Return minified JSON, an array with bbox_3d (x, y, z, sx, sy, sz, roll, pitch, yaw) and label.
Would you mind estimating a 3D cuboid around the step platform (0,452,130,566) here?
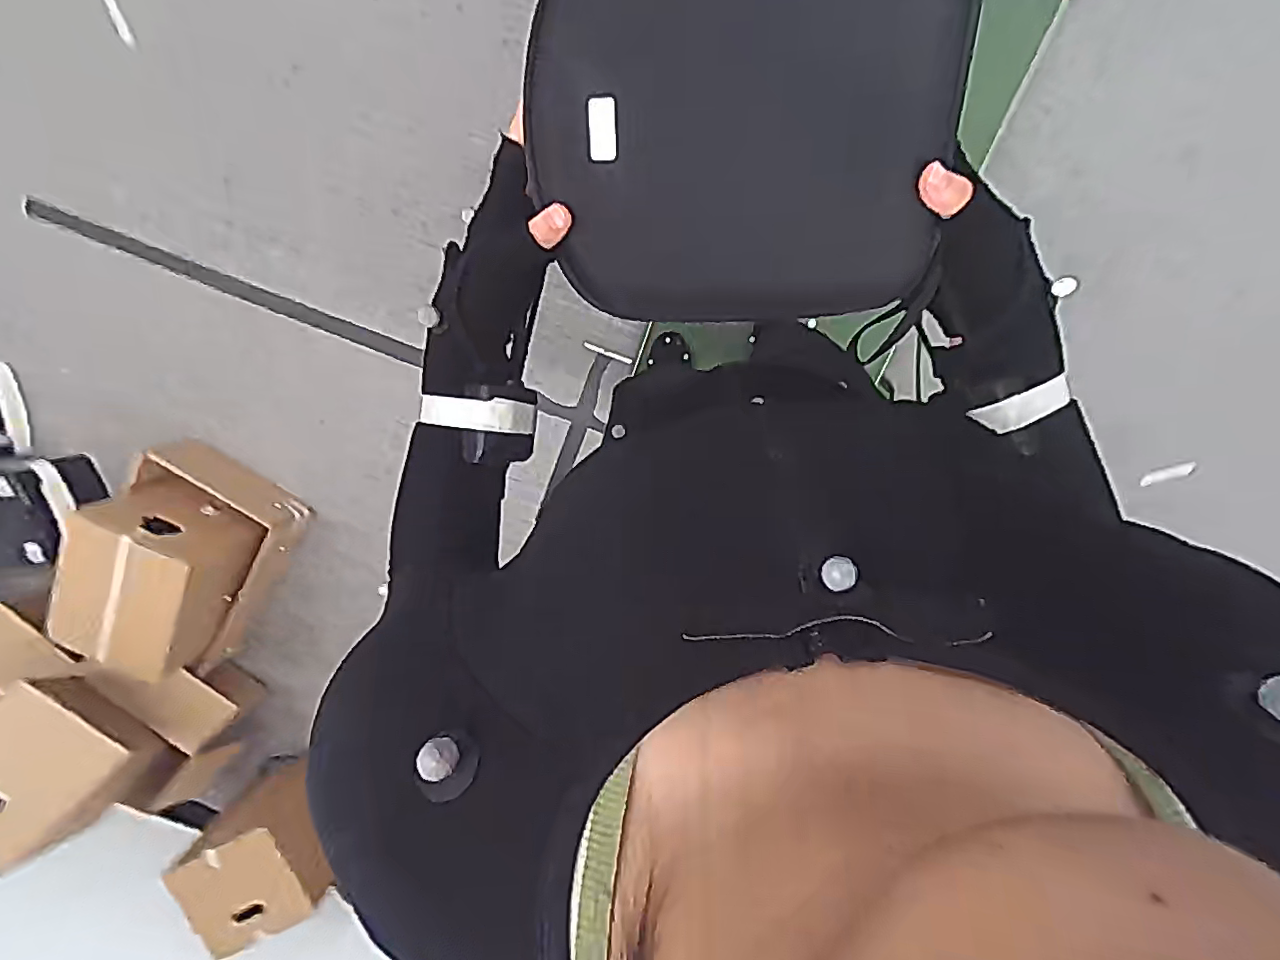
[{"bbox_3d":[-1.971,0.109,1.634,0.684,0.204,0.286,-7,106,6],"label":"step platform"}]
